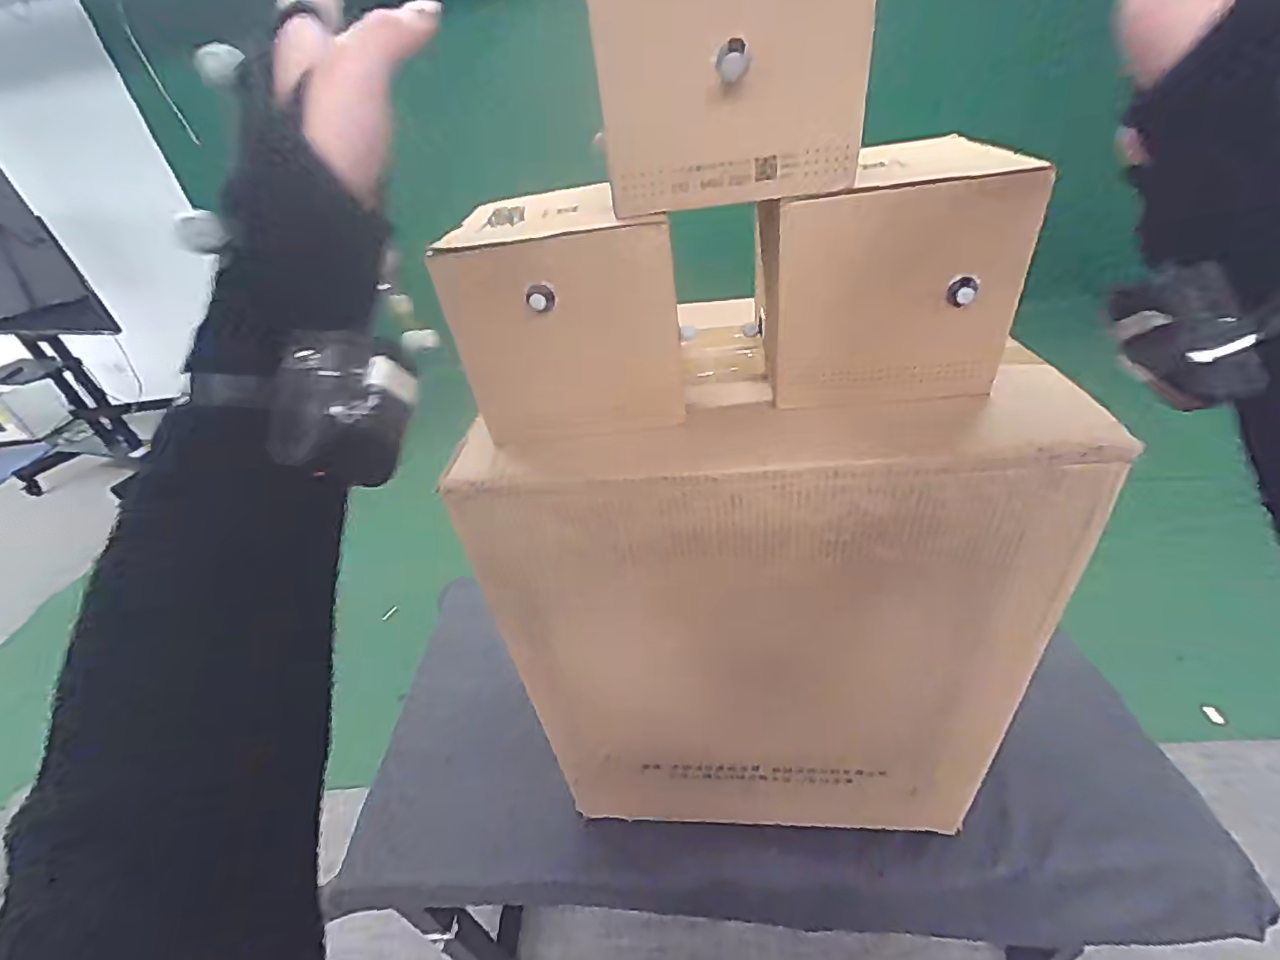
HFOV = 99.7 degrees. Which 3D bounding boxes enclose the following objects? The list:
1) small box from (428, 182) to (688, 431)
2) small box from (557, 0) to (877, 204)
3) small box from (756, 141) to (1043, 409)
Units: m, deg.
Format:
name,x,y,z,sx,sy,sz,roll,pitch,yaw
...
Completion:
name,x,y,z,sx,sy,sz,roll,pitch,yaw
small box,-0.054,-0.157,0.496,0.179,0.176,0.168,-3,40,9
small box,0.057,-0.317,0.399,0.179,0.176,0.168,-24,39,-17
small box,0.195,-0.177,0.473,0.179,0.176,0.168,-4,37,9
